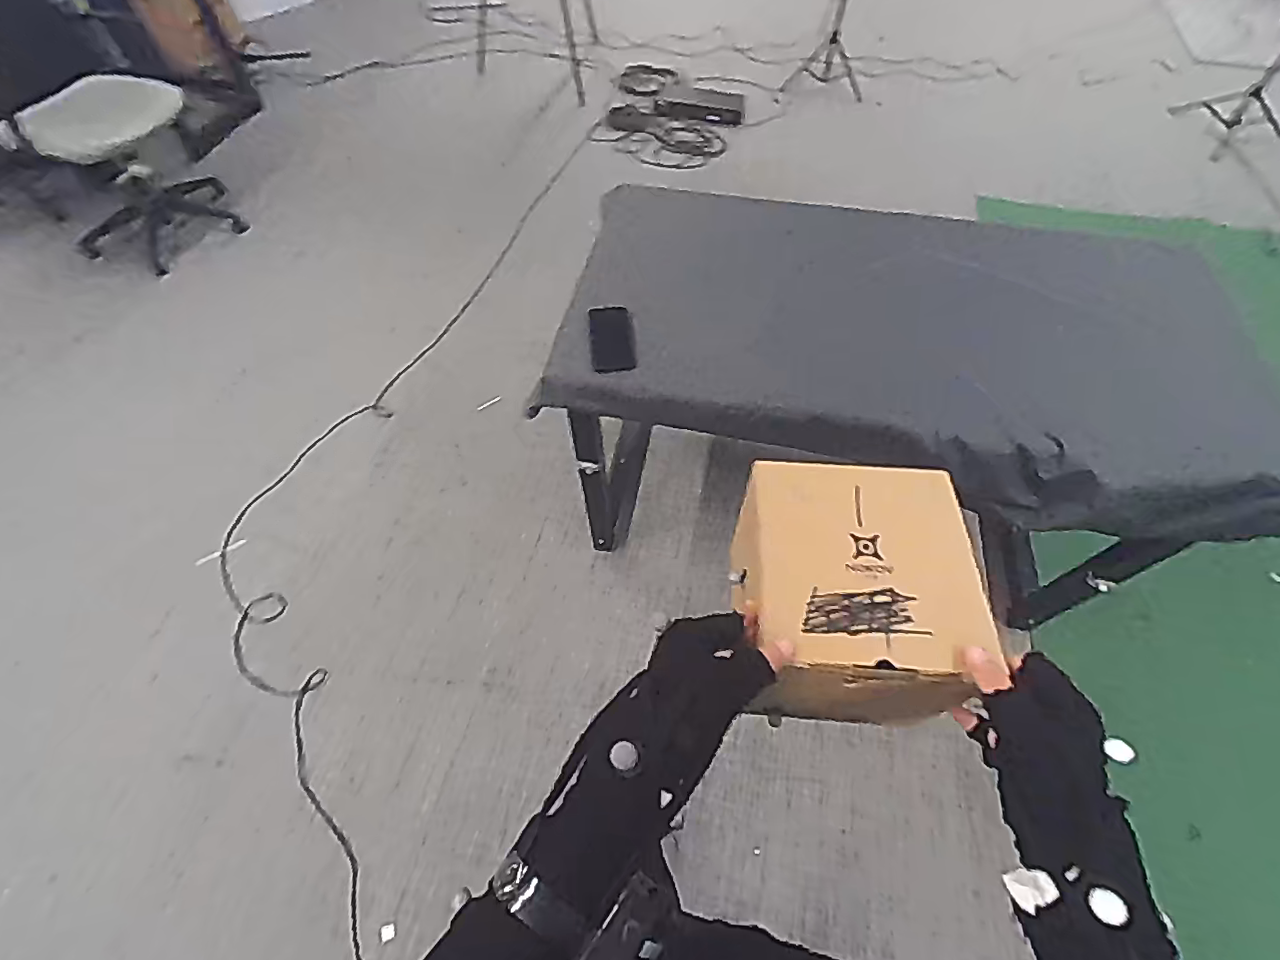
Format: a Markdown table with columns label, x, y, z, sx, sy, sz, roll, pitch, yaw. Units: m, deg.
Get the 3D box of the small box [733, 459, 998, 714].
| label | x | y | z | sx | sy | sz | roll | pitch | yaw |
| --- | --- | --- | --- | --- | --- | --- | --- | --- | --- |
| small box | 0.179 | 0.103 | 0.494 | 0.168 | 0.176 | 0.179 | 4 | 54 | 3 |
